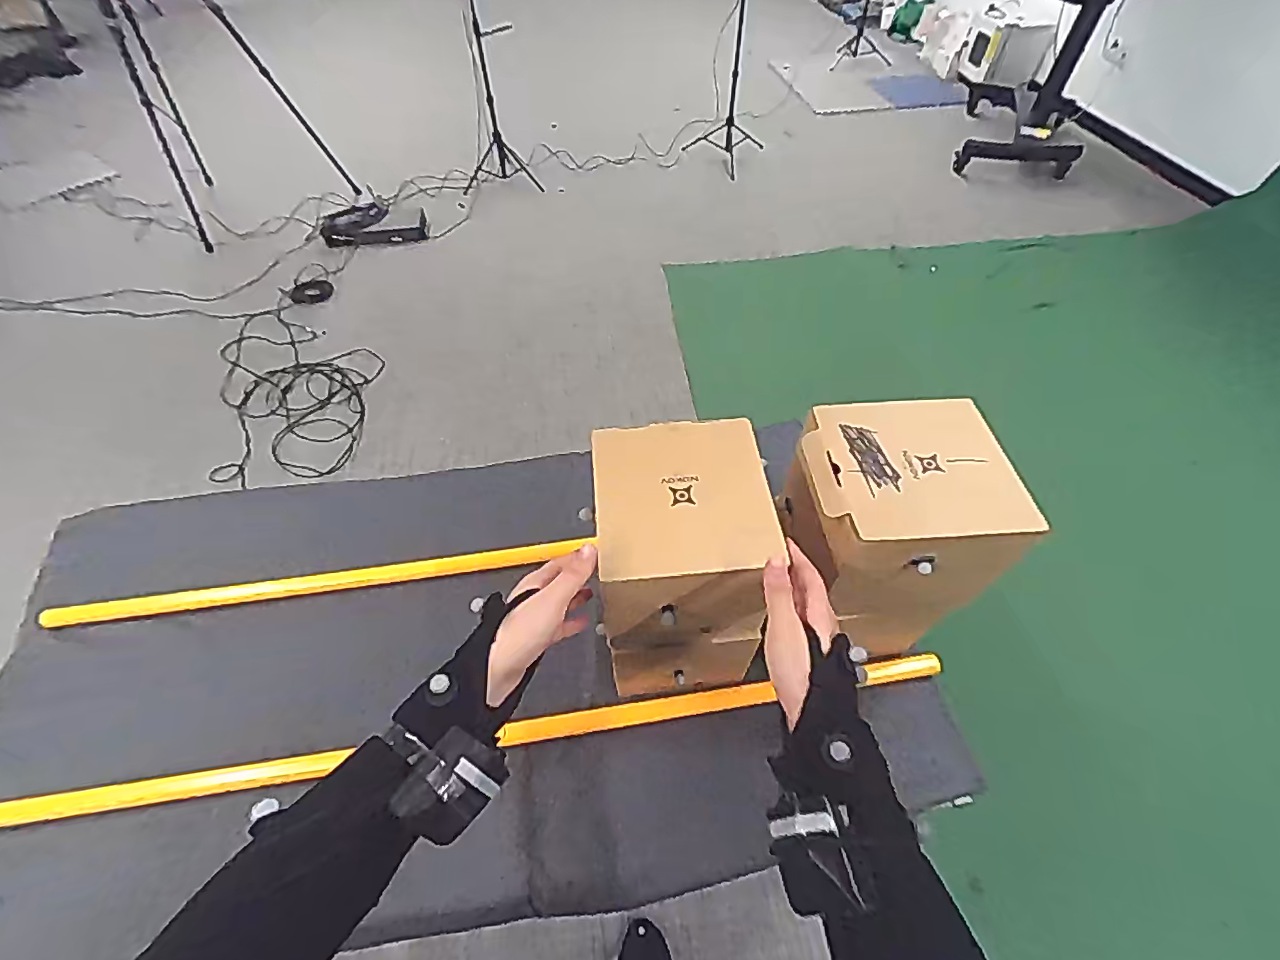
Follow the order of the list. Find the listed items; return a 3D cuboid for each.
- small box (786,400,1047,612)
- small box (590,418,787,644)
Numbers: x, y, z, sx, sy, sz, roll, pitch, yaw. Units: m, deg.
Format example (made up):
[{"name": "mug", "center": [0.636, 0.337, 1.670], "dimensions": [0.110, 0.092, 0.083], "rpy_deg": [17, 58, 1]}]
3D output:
[{"name": "small box", "center": [0.267, 0.033, 0.580], "dimensions": [0.179, 0.176, 0.168], "rpy_deg": [-2, 54, -3]}, {"name": "small box", "center": [0.040, 0.060, 0.565], "dimensions": [0.168, 0.176, 0.179], "rpy_deg": [-5, 53, -3]}]
